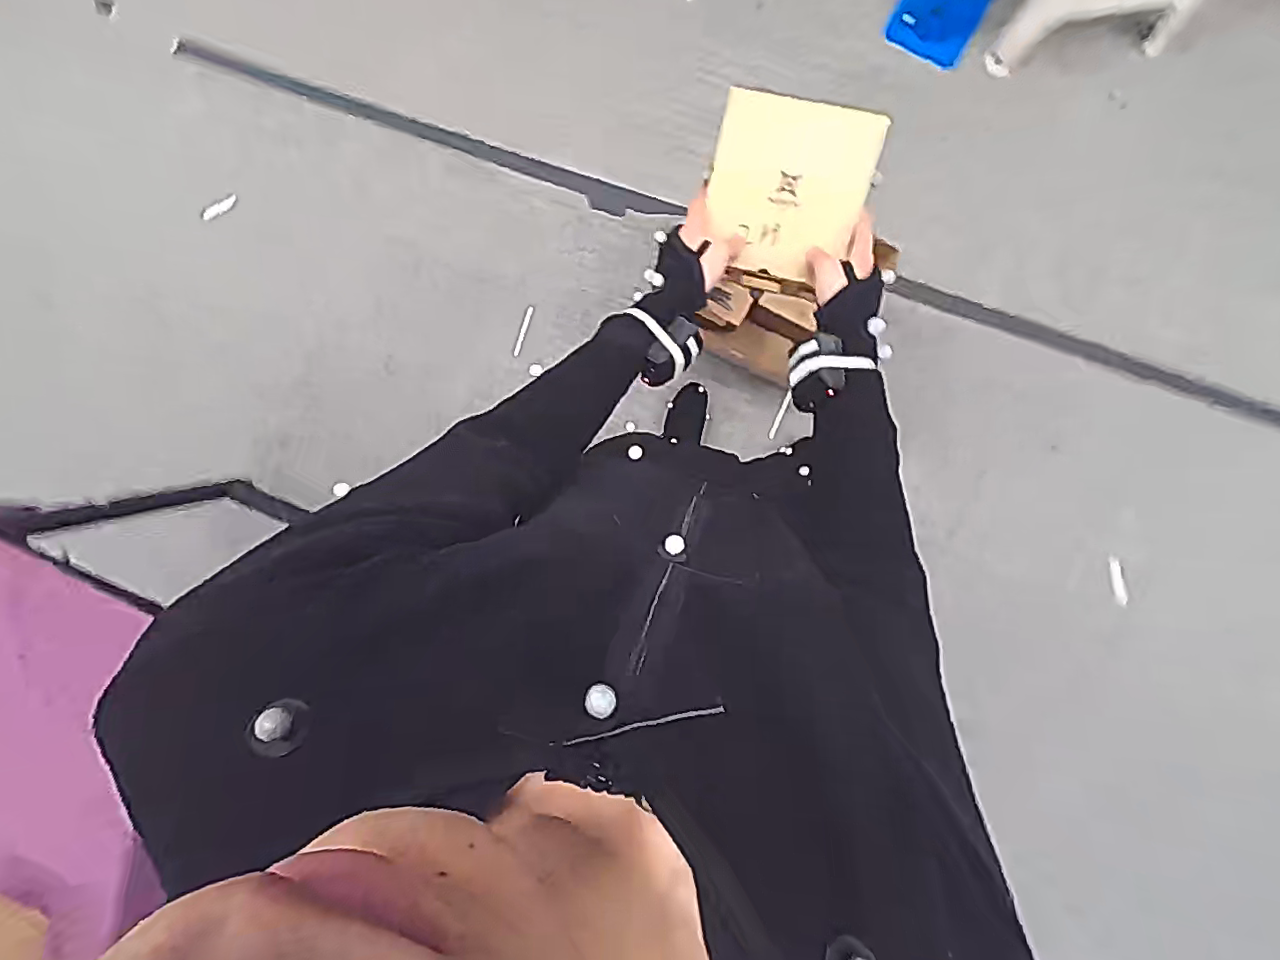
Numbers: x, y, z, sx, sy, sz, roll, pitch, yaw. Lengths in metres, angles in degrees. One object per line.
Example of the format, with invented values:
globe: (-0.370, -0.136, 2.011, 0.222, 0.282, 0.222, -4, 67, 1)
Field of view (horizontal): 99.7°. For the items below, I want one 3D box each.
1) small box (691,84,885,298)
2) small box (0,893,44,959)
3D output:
small box: (0.166, -0.331, 0.655, 0.168, 0.176, 0.179, 15, 107, 6)
small box: (-1.526, 1.095, 1.233, 0.179, 0.176, 0.168, 14, 100, 8)
